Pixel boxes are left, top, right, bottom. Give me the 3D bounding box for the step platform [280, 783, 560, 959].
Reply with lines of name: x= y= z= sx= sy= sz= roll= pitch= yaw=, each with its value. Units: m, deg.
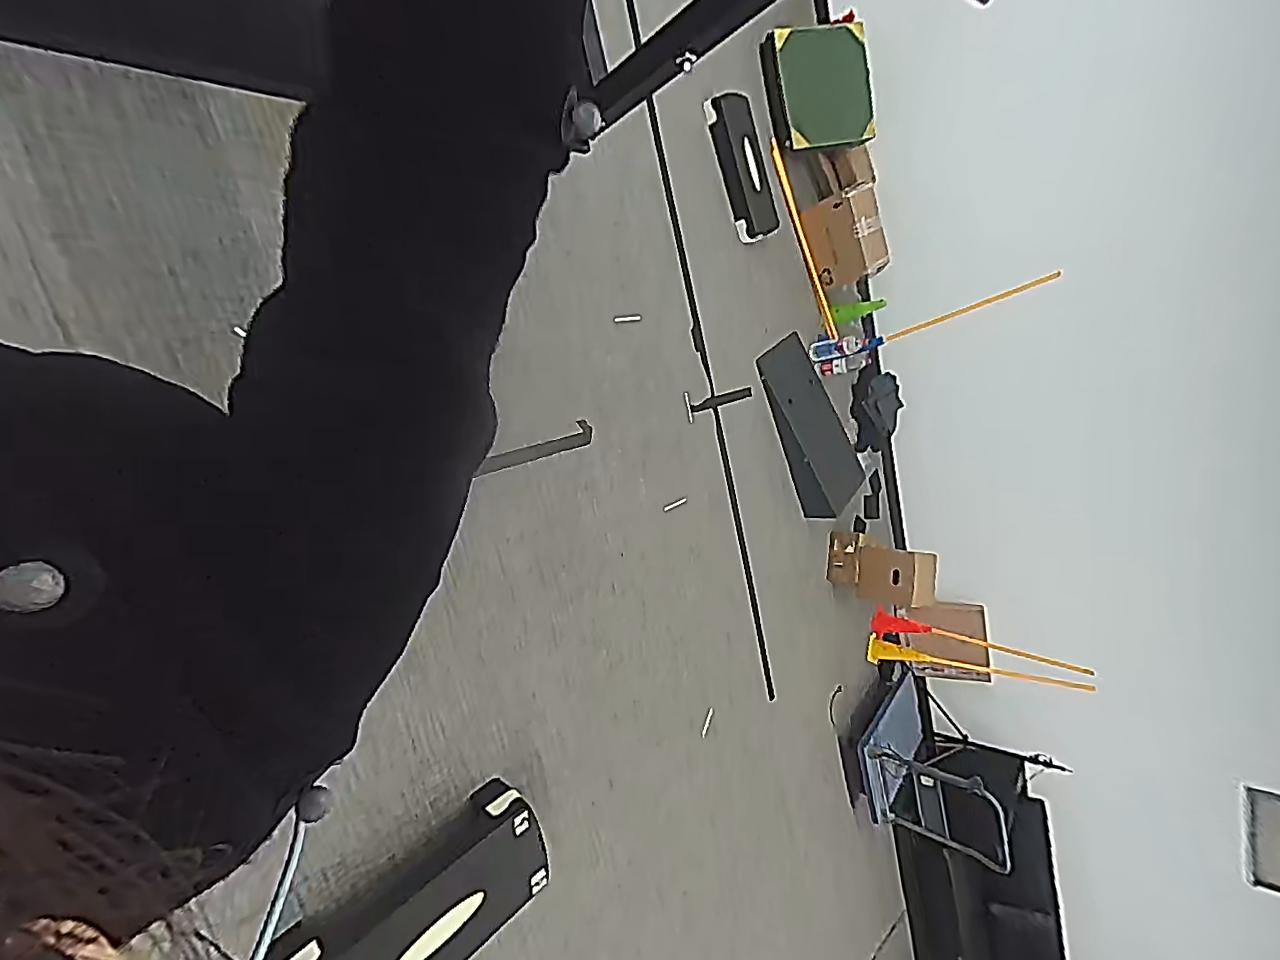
step platform: x=-0.533 y=1.138 z=1.441 sx=0.684 sy=0.204 sz=0.286 roll=-15 pitch=98 yaw=-45
